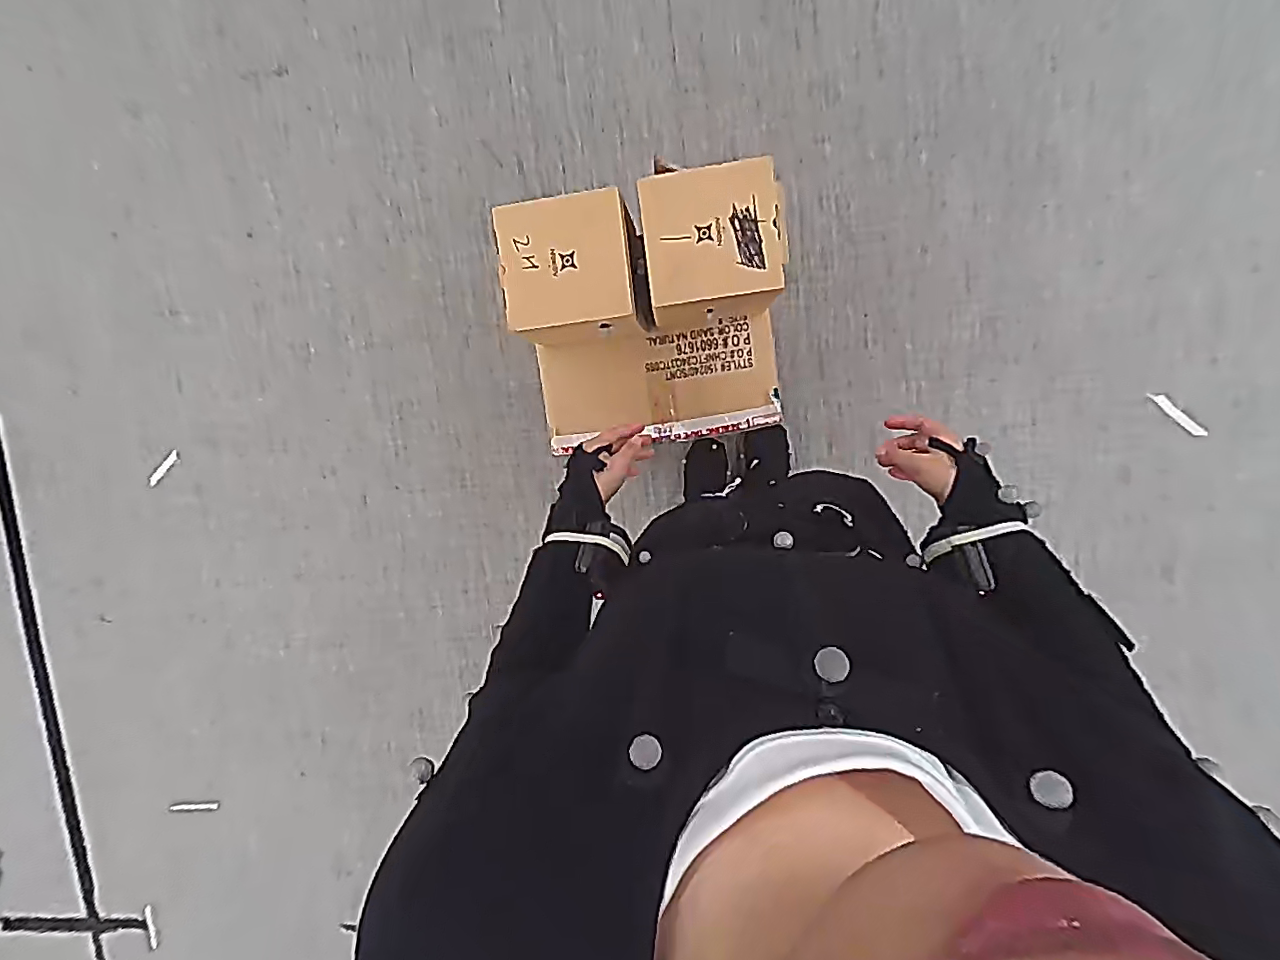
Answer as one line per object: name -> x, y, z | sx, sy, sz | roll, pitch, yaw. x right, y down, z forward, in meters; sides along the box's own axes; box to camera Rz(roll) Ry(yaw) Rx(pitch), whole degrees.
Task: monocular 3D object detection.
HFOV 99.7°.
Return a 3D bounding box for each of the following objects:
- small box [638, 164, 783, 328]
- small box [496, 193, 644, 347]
small box -> 0.097, -0.324, 0.782 | 0.179, 0.176, 0.168 | -7, 96, 5
small box -> -0.091, -0.297, 0.802 | 0.179, 0.176, 0.168 | -6, 95, 9
